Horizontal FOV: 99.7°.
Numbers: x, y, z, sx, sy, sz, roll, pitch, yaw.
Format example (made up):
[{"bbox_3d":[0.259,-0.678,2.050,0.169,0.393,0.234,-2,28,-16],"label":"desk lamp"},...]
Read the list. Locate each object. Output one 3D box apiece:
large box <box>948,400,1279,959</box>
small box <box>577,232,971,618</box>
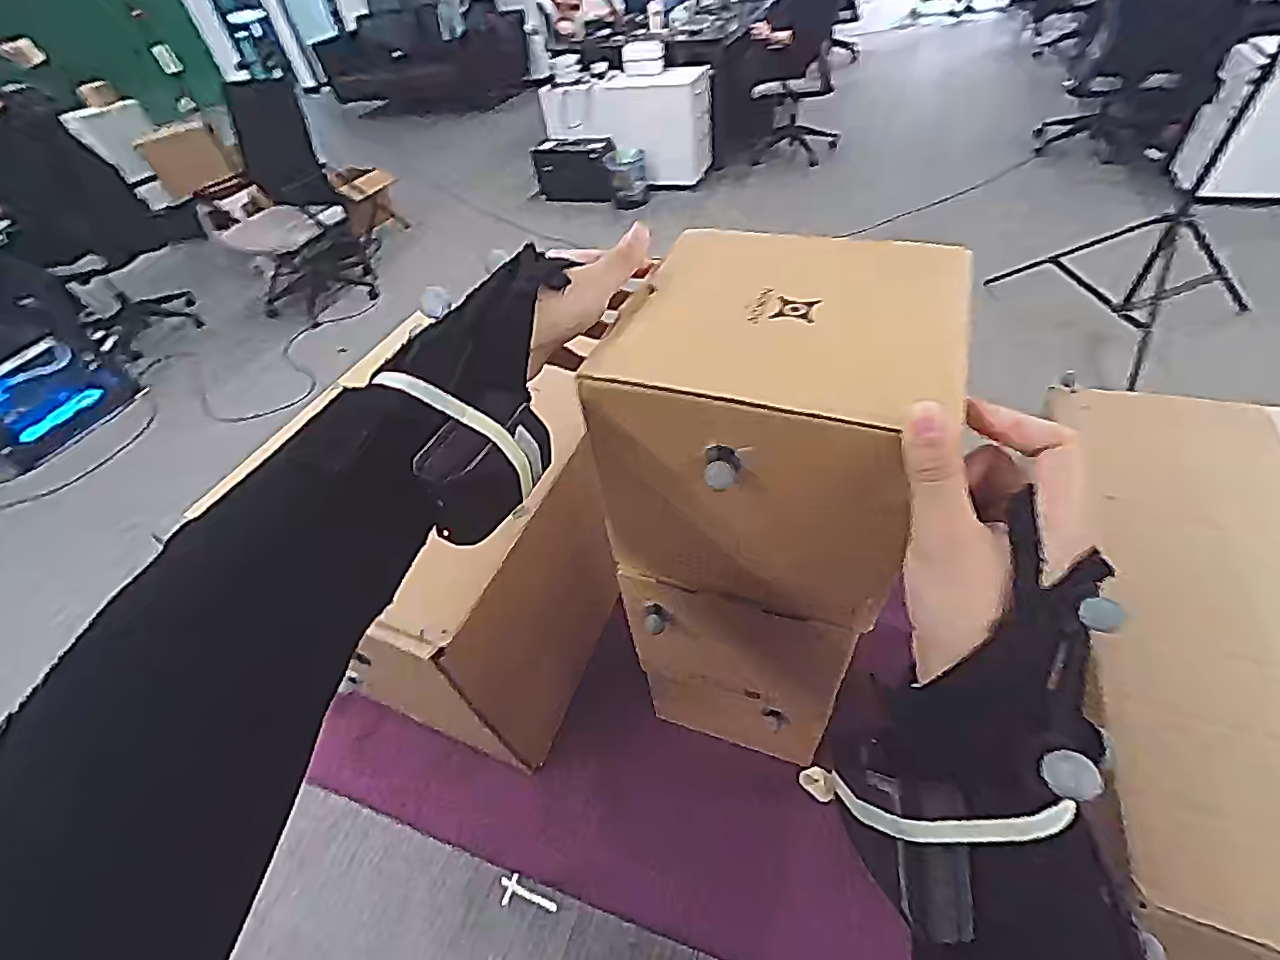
[{"bbox_3d":[0.456,0.193,0.432,0.320,0.320,0.408,12,49,19],"label":"large box"},{"bbox_3d":[0.086,-0.034,0.348,0.179,0.176,0.168,13,51,20],"label":"small box"}]
